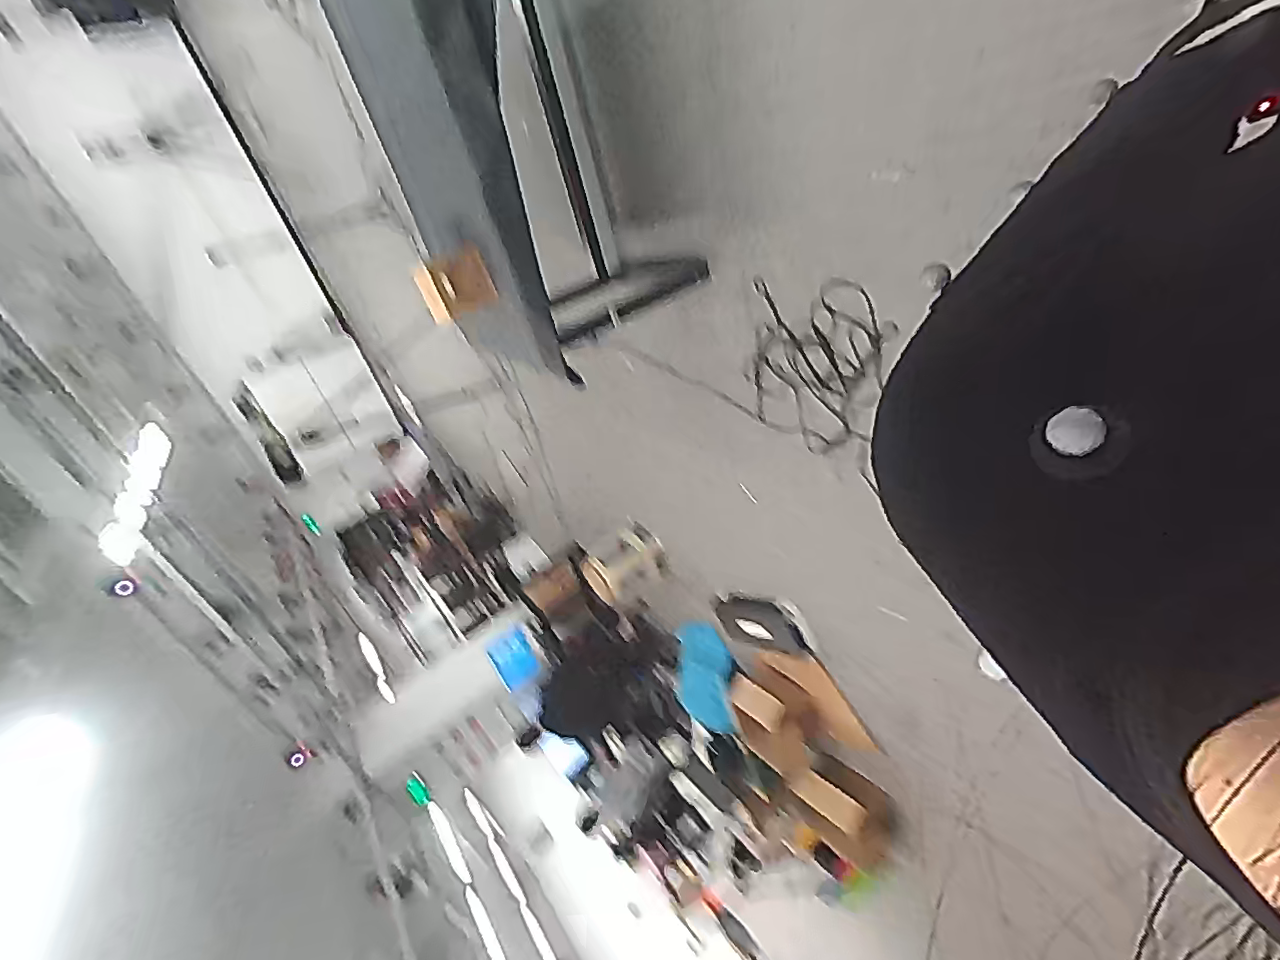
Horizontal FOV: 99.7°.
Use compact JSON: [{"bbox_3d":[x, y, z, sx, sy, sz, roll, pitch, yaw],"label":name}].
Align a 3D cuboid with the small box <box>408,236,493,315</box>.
[{"bbox_3d":[-0.569,-0.613,1.630,0.179,0.176,0.168,13,130,56],"label":"small box"}]
